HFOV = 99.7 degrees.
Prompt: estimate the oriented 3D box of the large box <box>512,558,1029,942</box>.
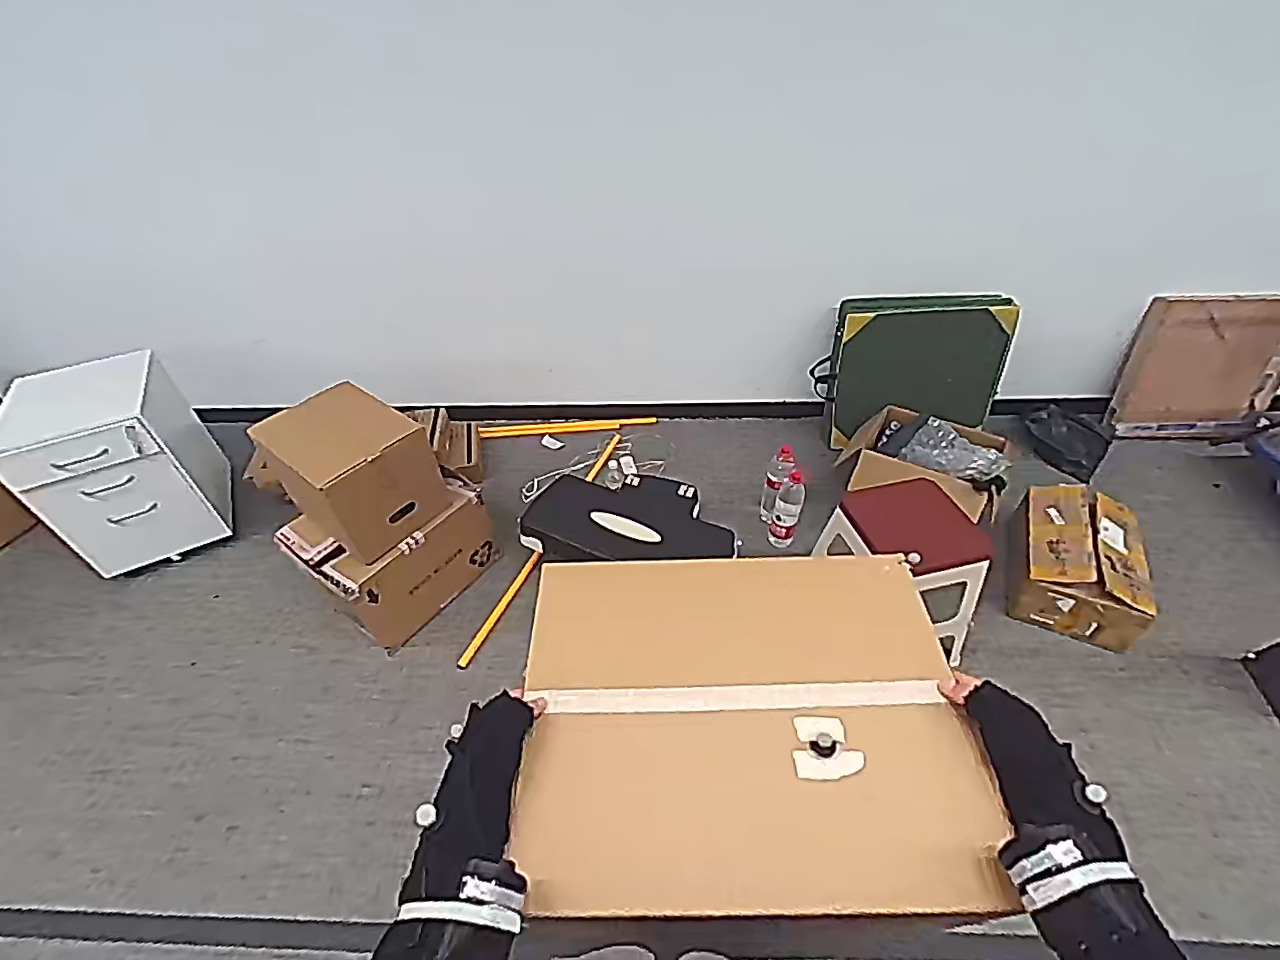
[{"bbox_3d":[0.099,0.309,0.618,0.408,0.320,0.320,-2,47,1],"label":"large box"}]
